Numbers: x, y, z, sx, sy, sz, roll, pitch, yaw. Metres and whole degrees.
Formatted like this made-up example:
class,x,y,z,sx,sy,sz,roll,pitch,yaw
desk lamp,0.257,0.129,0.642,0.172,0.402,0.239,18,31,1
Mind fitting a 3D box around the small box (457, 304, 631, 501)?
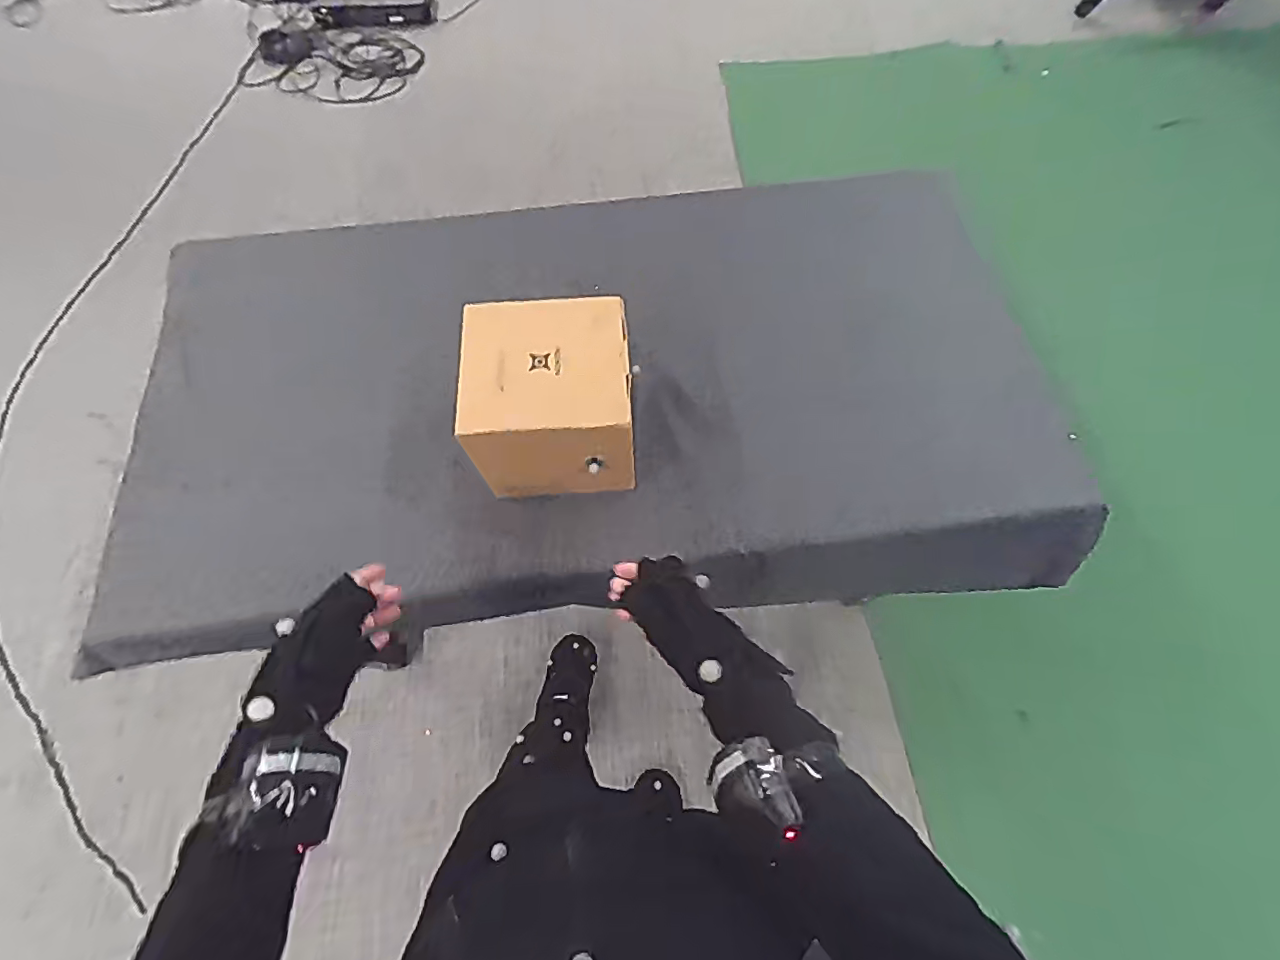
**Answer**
class,x,y,z,sx,sy,sz,roll,pitch,yaw
small box,-0.102,-0.084,0.646,0.179,0.176,0.168,-5,65,-1
